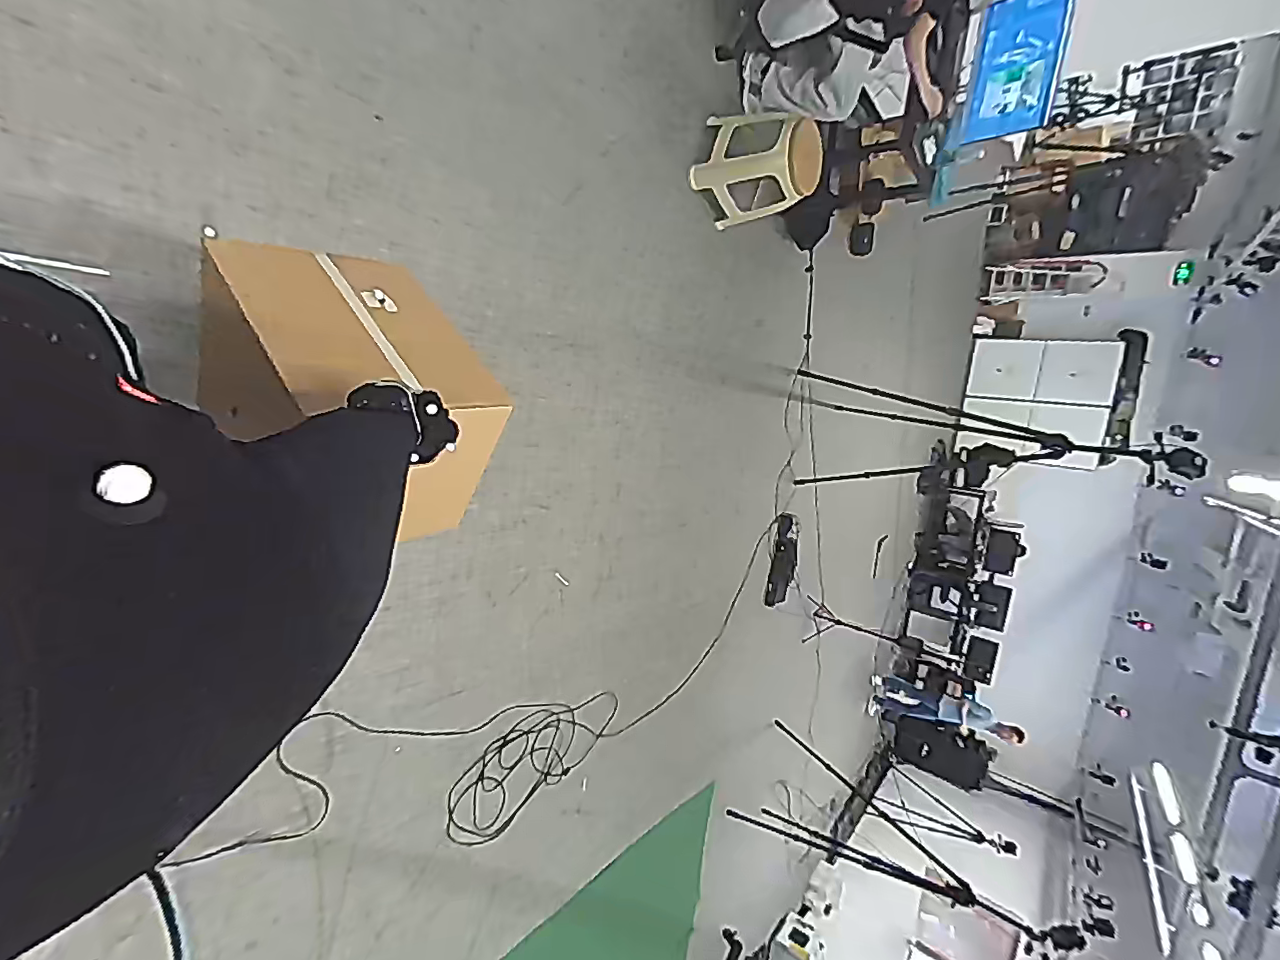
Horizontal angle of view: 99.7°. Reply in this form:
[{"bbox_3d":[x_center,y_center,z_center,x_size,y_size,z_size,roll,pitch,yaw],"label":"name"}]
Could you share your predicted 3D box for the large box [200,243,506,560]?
[{"bbox_3d":[-0.504,-0.137,0.929,0.320,0.408,0.320,-13,145,-50],"label":"large box"}]
